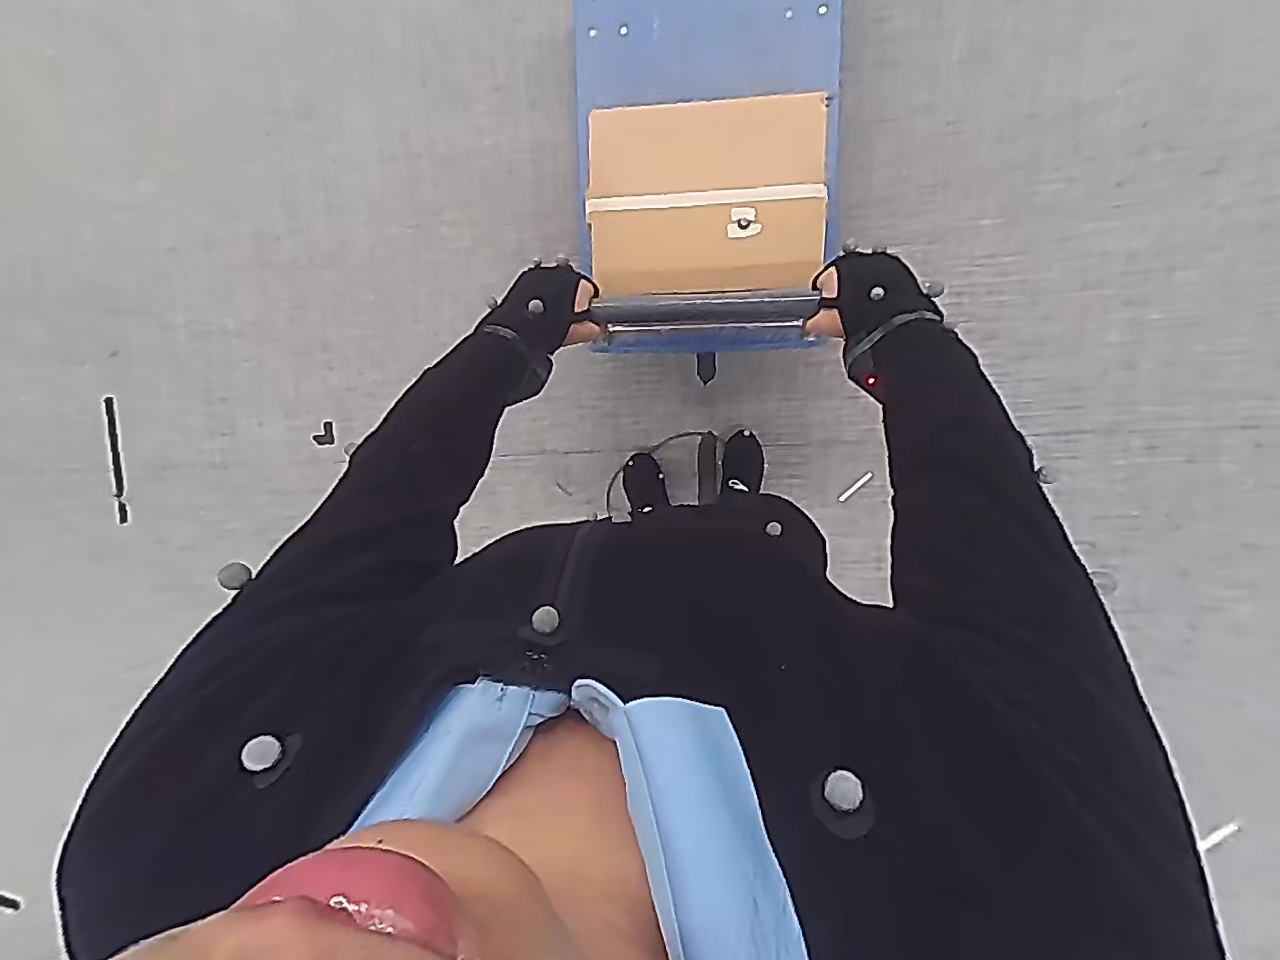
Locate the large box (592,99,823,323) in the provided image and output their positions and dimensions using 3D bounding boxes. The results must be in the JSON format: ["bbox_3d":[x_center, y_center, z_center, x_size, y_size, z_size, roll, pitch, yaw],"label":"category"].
[{"bbox_3d":[0.130,-0.509,1.099,0.408,0.320,0.320,0,98,6],"label":"large box"}]
